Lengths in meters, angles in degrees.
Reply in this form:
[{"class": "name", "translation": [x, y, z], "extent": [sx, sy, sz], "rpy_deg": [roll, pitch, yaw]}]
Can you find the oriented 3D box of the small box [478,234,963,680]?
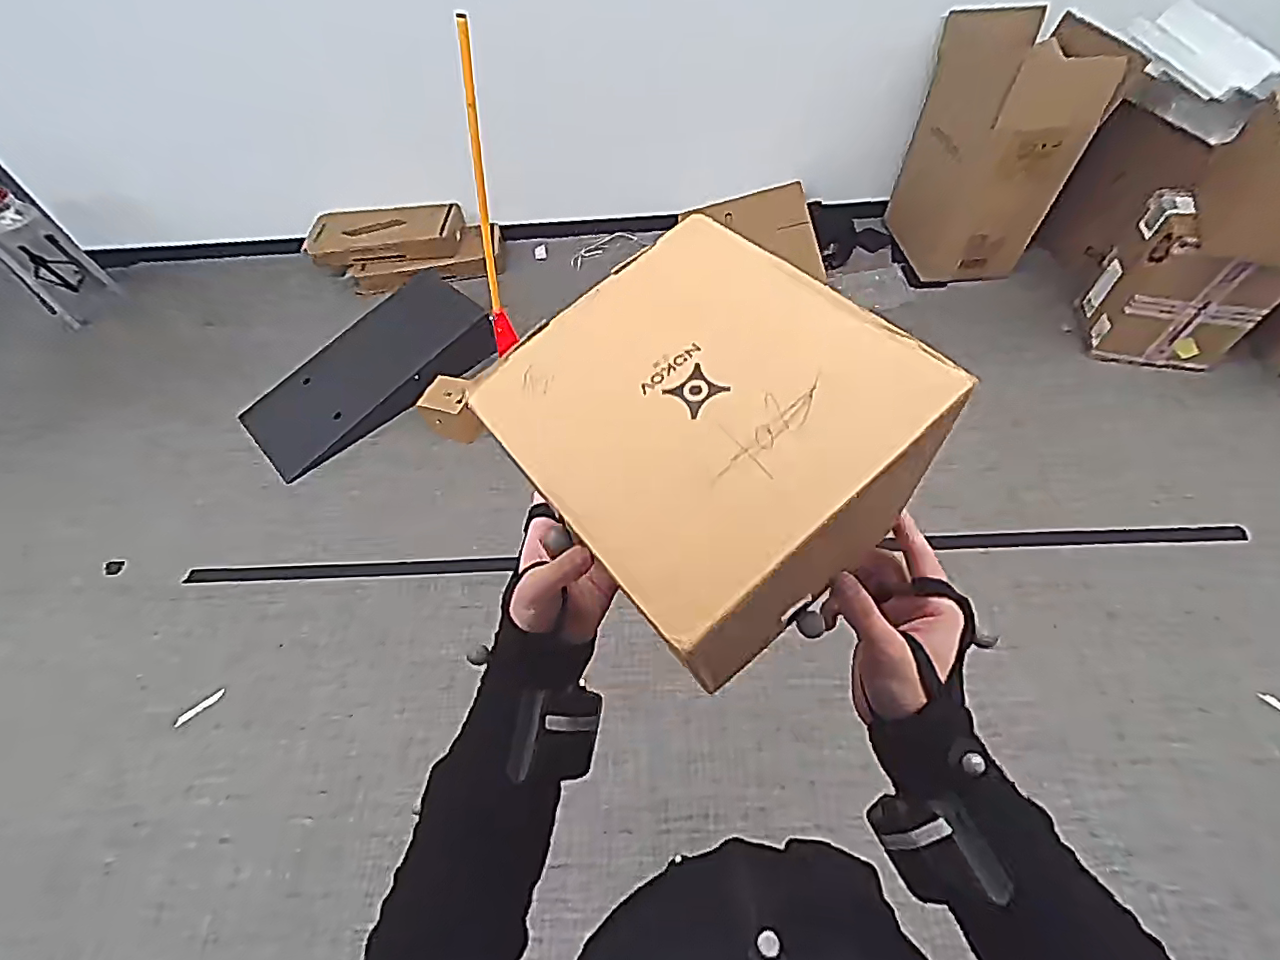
[{"class": "small box", "translation": [0.041, -0.002, 0.330], "extent": [0.168, 0.176, 0.179], "rpy_deg": [-41, 64, -9]}]
